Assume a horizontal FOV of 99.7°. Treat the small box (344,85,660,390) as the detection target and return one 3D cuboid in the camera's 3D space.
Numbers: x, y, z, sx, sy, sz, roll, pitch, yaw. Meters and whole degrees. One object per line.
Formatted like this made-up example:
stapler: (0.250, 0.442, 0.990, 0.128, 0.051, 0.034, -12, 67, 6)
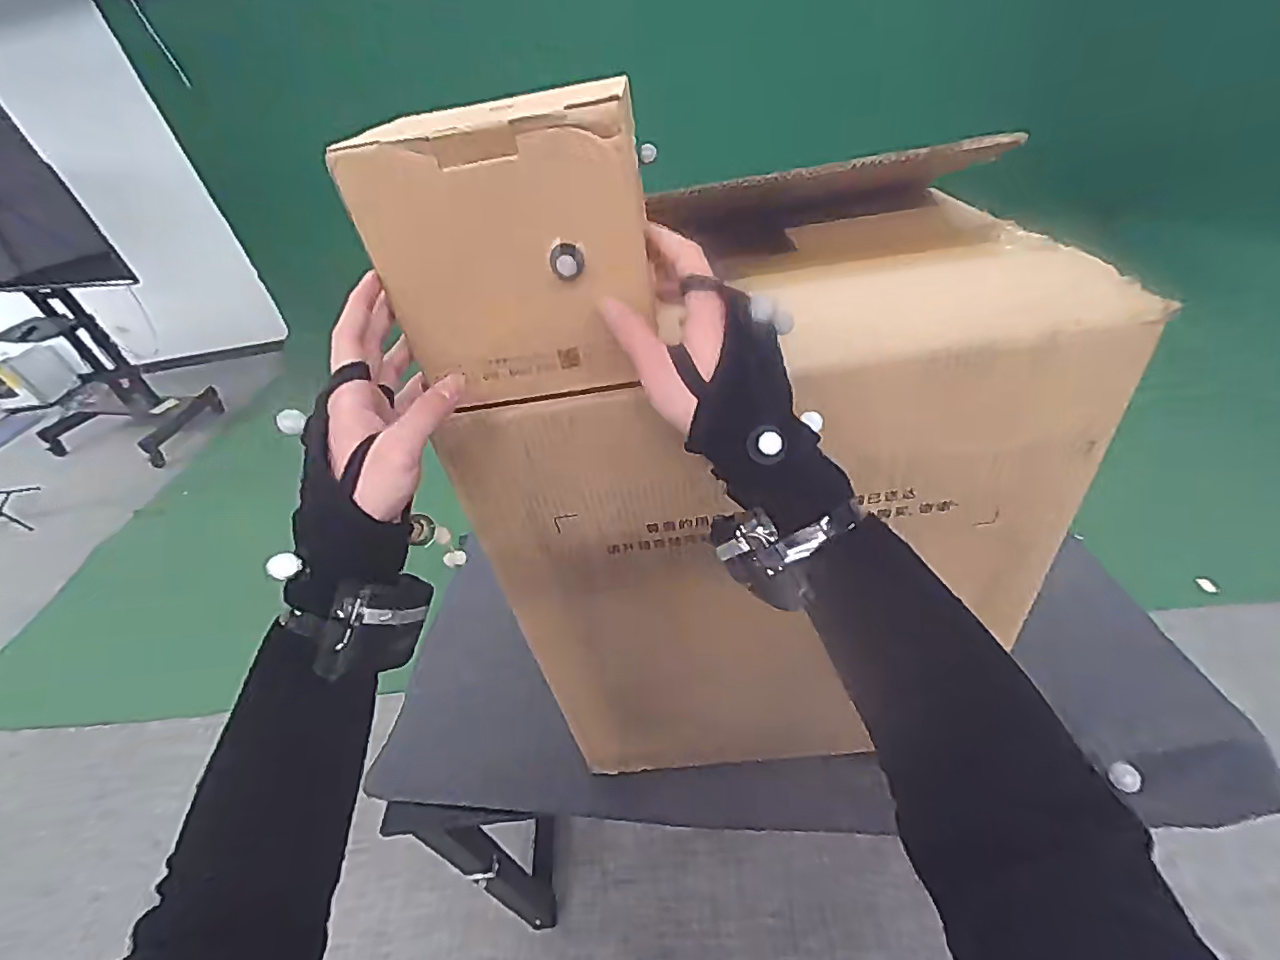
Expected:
small box: (-0.076, -0.178, 0.413, 0.168, 0.176, 0.179, -6, 38, 6)
